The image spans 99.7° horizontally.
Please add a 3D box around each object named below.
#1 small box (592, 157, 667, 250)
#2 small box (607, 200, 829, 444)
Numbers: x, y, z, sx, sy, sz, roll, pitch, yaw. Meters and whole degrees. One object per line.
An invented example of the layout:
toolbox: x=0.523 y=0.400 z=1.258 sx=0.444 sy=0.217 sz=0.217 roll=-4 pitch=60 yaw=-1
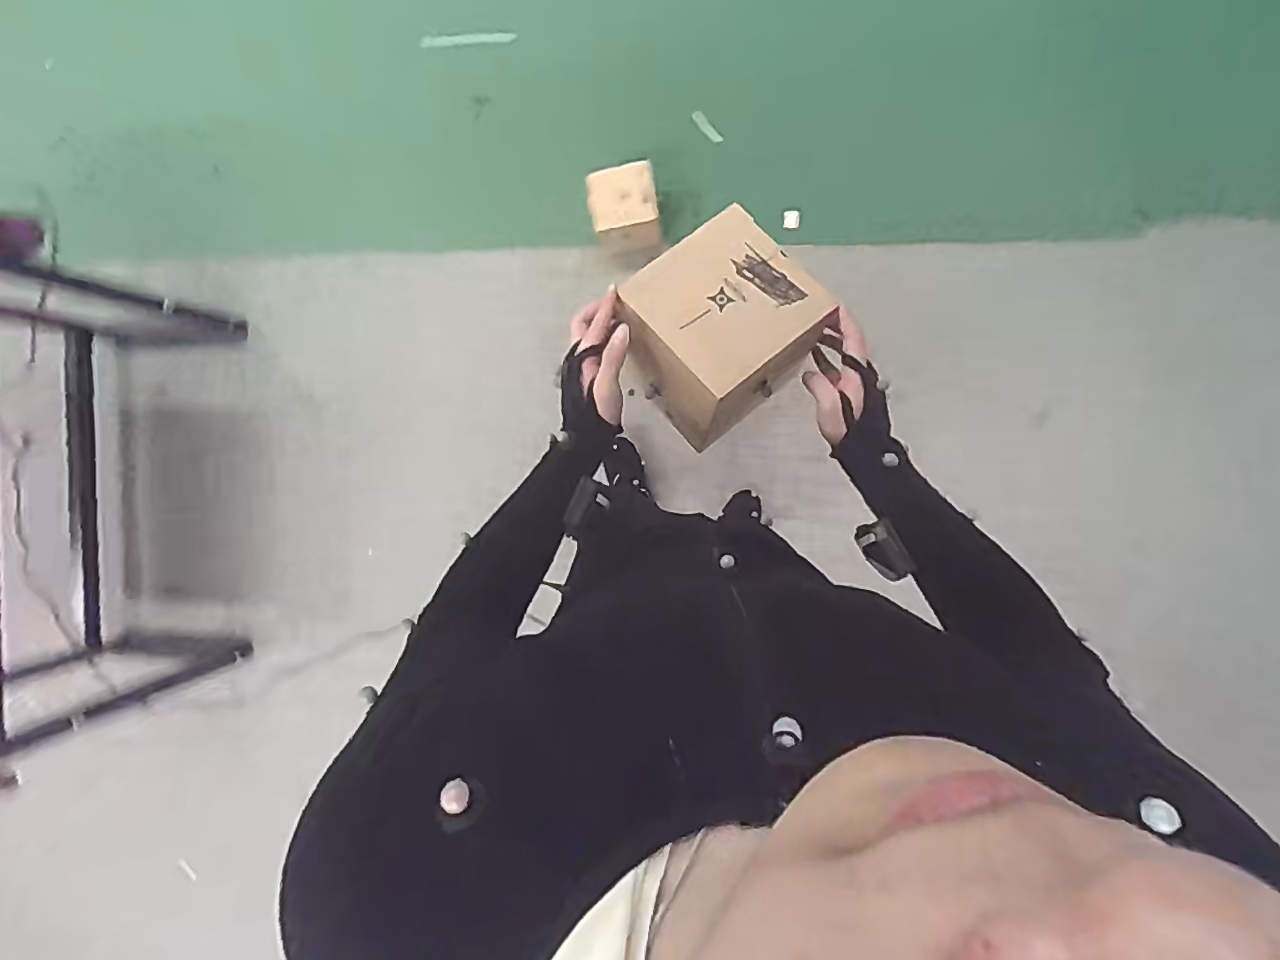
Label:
small box: x=-0.025 y=-0.783 z=1.551 sx=0.179 sy=0.176 sz=0.168 roll=-8 pitch=91 yaw=10
small box: x=0.079 y=-0.173 z=0.634 sx=0.179 sy=0.176 sz=0.168 roll=-40 pitch=78 yaw=-10
